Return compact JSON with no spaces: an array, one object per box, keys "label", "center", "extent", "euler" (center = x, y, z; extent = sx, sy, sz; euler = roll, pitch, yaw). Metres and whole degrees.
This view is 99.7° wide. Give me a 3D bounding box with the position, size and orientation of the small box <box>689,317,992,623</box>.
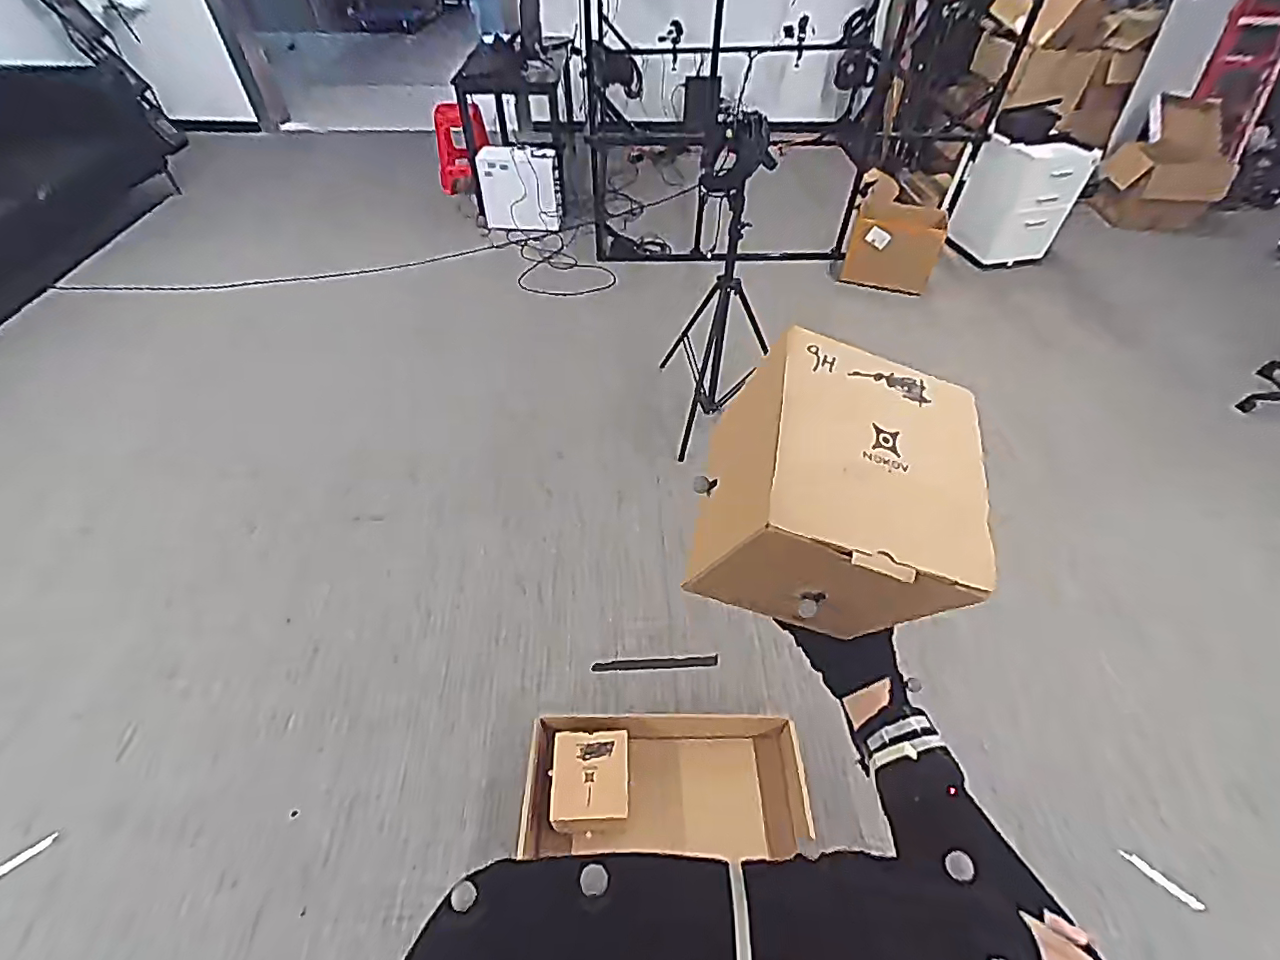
[{"label":"small box","center":[0.151,0.007,0.452],"extent":[0.168,0.176,0.179],"euler":[18,62,-8]}]
